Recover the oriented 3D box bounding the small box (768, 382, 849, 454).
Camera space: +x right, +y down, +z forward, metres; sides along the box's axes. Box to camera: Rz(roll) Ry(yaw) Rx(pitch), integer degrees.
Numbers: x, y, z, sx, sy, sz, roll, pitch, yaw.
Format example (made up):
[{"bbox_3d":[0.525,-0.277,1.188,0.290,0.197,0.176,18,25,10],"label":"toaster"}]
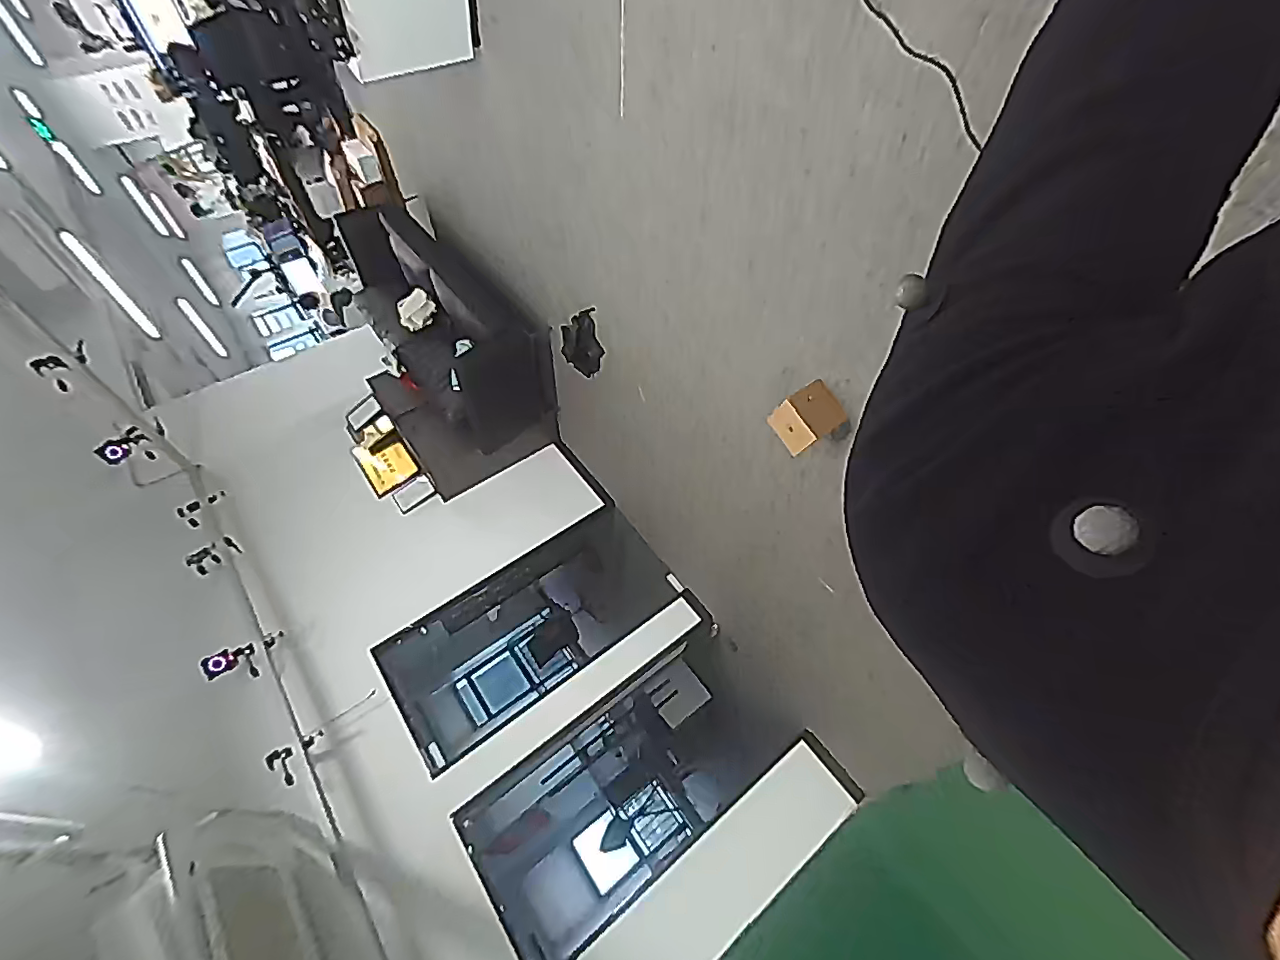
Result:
[{"bbox_3d":[0.596,-0.226,1.916,0.179,0.176,0.168,54,159,9],"label":"small box"}]
